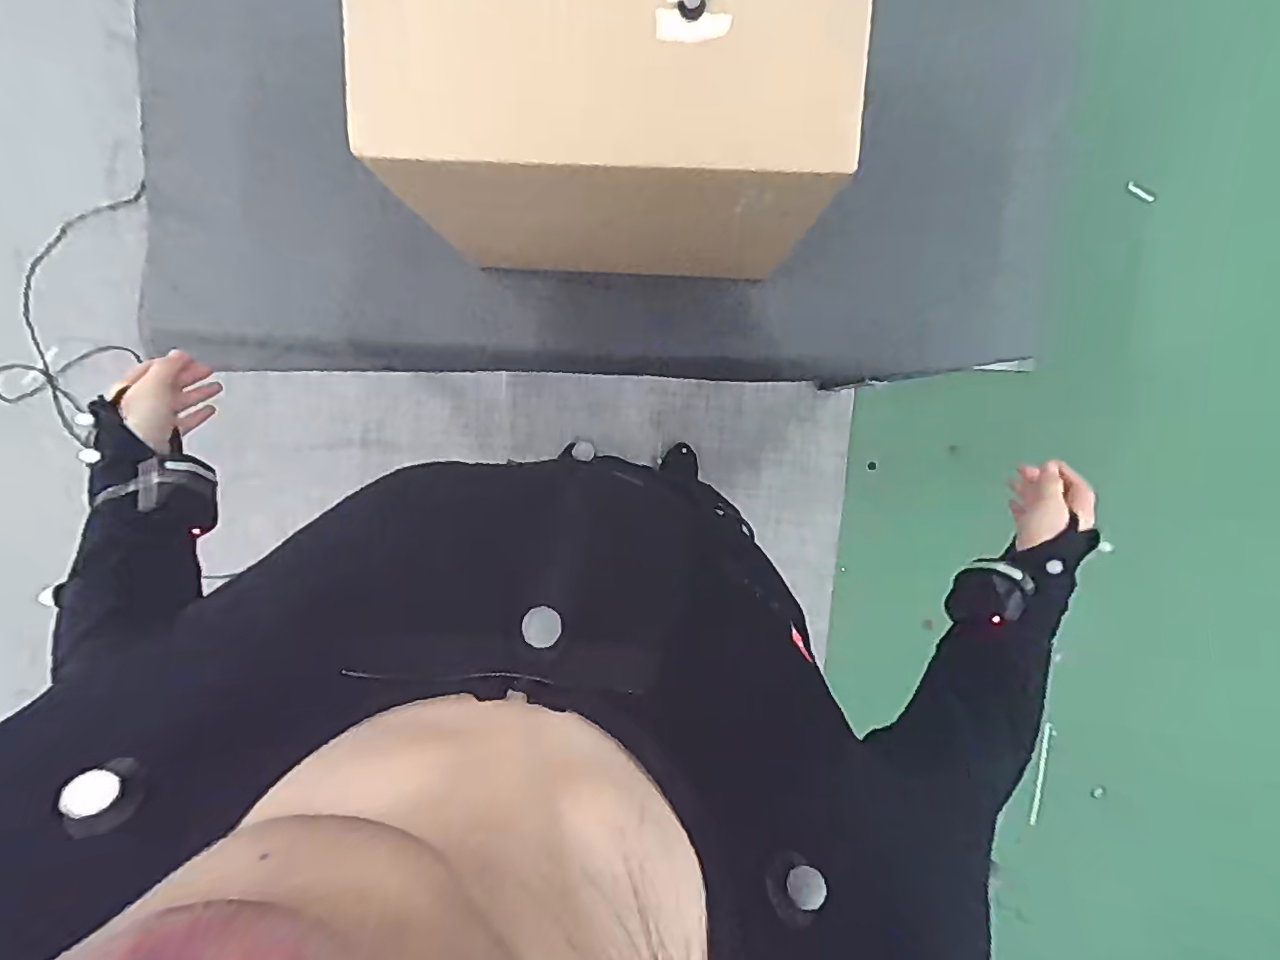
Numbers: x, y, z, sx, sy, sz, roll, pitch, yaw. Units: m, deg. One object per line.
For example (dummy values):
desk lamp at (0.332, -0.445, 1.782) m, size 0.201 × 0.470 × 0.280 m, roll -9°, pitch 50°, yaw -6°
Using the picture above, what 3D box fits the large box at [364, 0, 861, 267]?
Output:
large box at (-0.022, -0.429, 0.574) m, size 0.408 × 0.320 × 0.320 m, roll 2°, pitch 97°, yaw 0°
